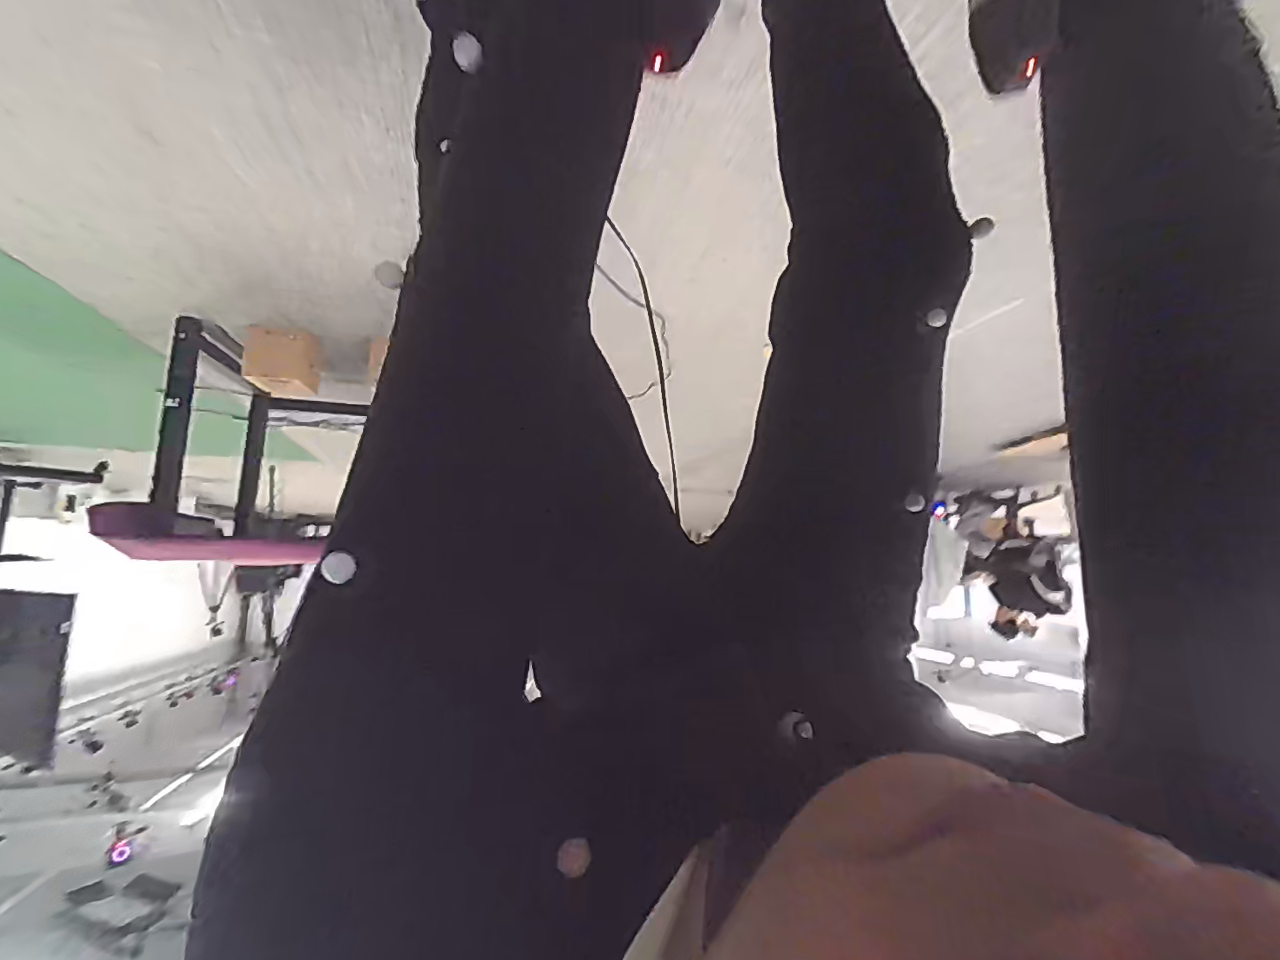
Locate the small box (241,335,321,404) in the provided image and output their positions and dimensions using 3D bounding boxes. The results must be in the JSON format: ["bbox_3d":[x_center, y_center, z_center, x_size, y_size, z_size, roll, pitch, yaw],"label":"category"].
[{"bbox_3d":[-1.166,-0.360,1.767,0.168,0.176,0.179,3,171,-12],"label":"small box"}]
